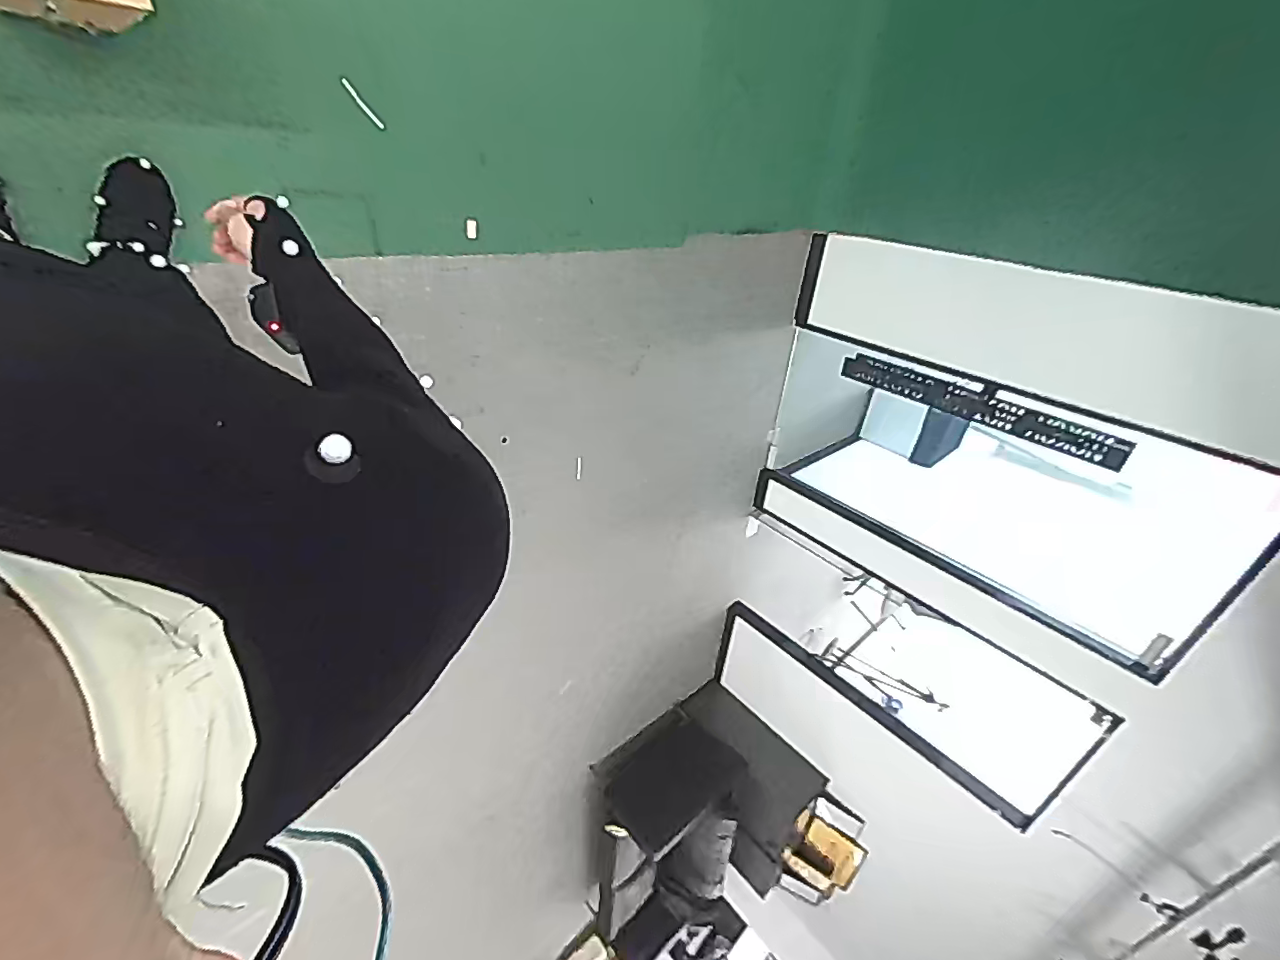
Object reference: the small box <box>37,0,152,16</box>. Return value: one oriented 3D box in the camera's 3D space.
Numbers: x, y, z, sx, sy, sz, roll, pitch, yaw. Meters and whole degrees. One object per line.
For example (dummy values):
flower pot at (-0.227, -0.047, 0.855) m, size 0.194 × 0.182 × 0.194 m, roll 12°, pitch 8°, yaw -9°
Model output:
small box at (-0.751, -0.701, 0.669) m, size 0.179 × 0.176 × 0.168 m, roll -21°, pitch 131°, yaw -39°

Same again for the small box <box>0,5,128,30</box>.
small box at (-0.969, -0.844, 0.863) m, size 0.179 × 0.176 × 0.168 m, roll -20°, pitch 129°, yaw -39°

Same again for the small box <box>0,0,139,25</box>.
small box at (-0.861, -0.771, 0.768) m, size 0.179 × 0.176 × 0.168 m, roll -20°, pitch 130°, yaw -38°
